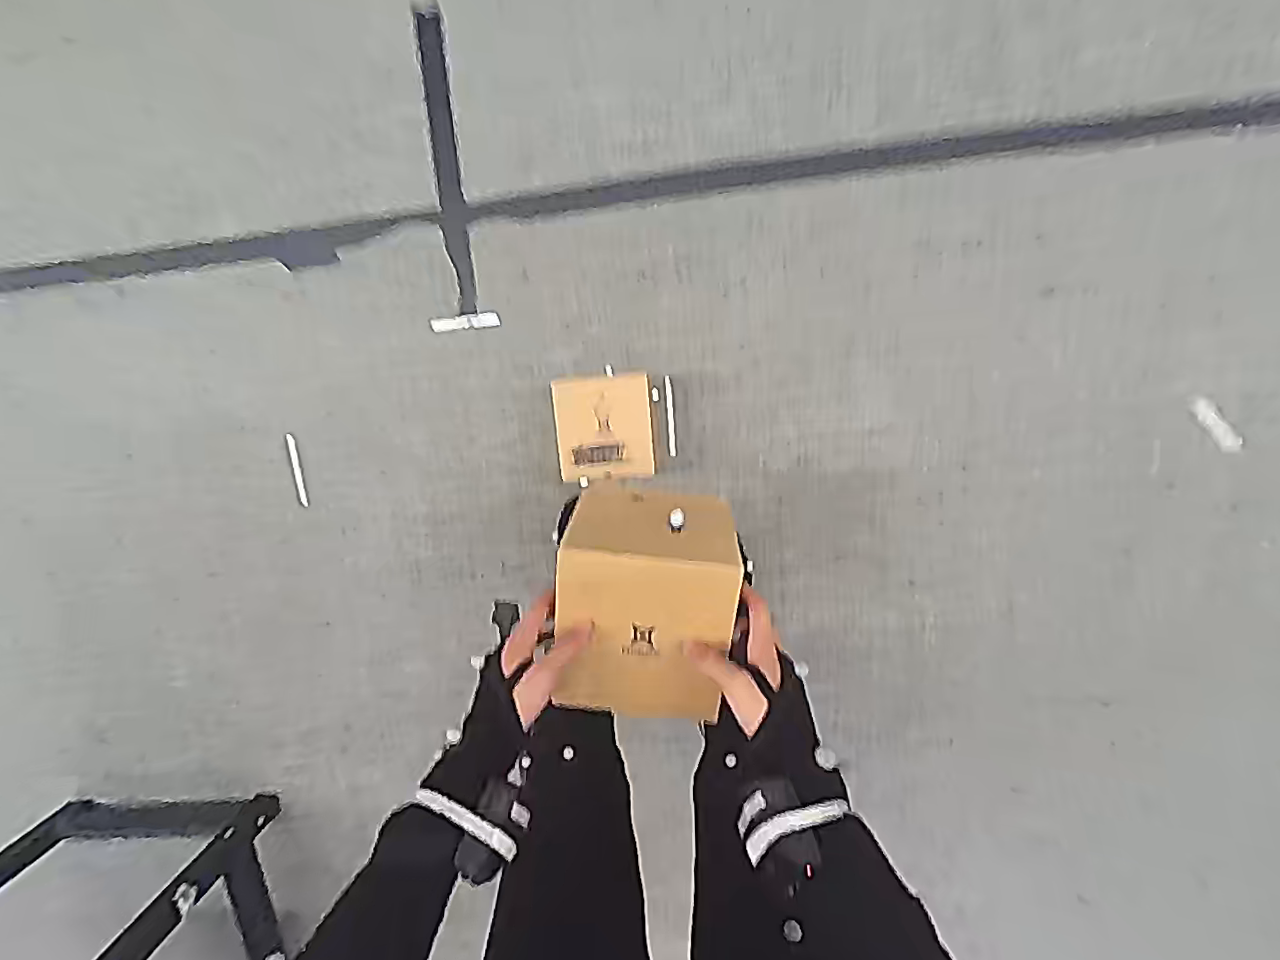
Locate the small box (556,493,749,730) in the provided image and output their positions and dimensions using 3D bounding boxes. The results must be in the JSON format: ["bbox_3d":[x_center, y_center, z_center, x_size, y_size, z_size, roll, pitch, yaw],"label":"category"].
[{"bbox_3d":[0.011,0.125,0.568,0.168,0.176,0.179,6,111,3],"label":"small box"}]
